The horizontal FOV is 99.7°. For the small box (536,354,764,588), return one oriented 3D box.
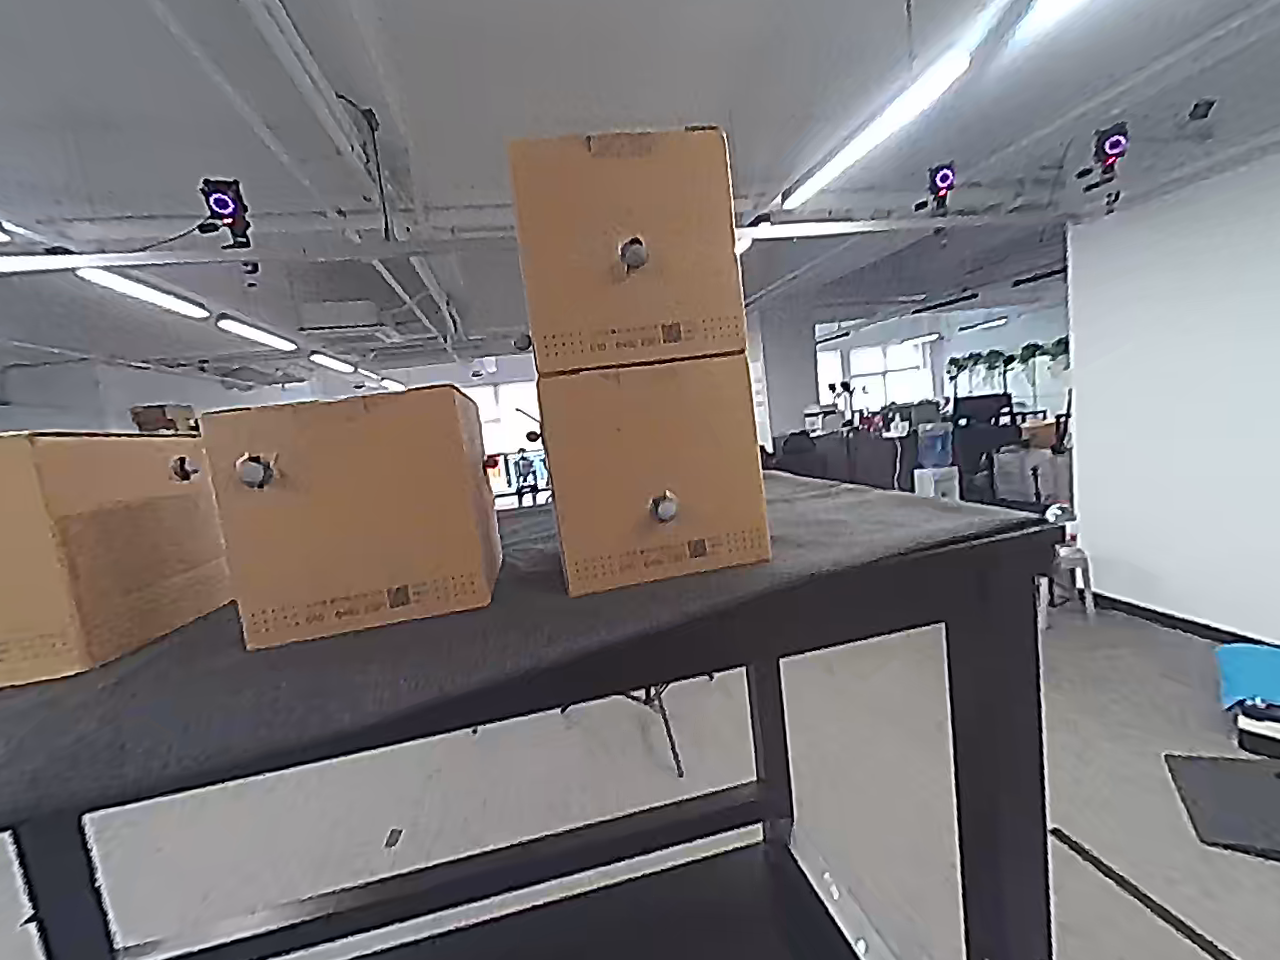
[{"bbox_3d":[0.000,-0.011,0.497,0.168,0.176,0.179,-9,6,-10],"label":"small box"}]

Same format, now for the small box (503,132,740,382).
[{"bbox_3d":[-0.020,-0.173,0.481,0.168,0.176,0.179,-8,6,-9],"label":"small box"}]

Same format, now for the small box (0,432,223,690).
[{"bbox_3d":[-0.471,0.058,0.424,0.168,0.176,0.179,-8,5,-9],"label":"small box"}]
